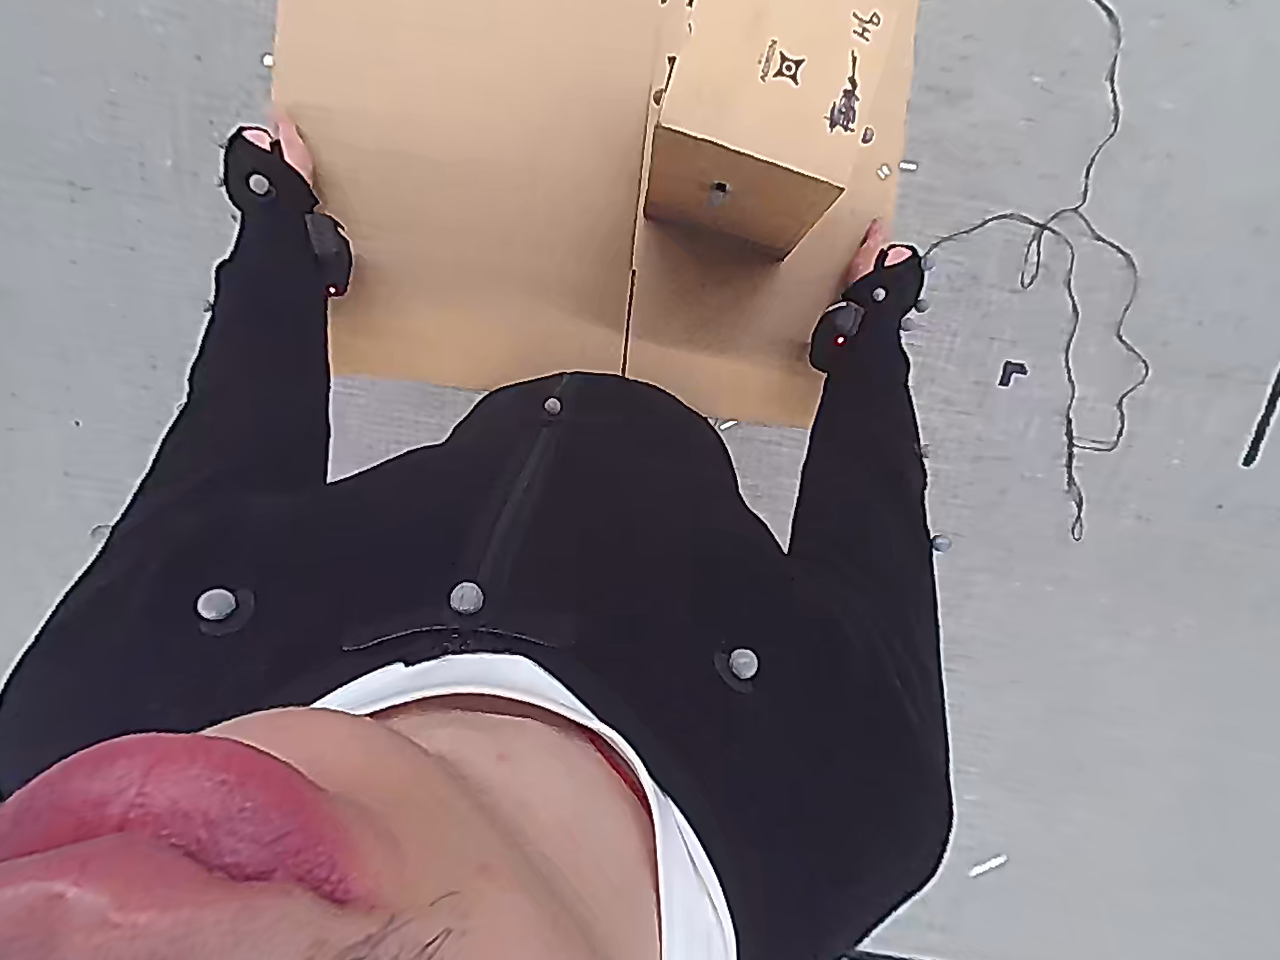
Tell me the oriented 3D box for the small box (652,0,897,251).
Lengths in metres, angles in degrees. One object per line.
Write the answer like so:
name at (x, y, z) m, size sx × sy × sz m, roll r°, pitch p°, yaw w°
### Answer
small box at (0.116, -0.359, 0.549) m, size 0.179 × 0.176 × 0.168 m, roll 17°, pitch 92°, yaw -3°
